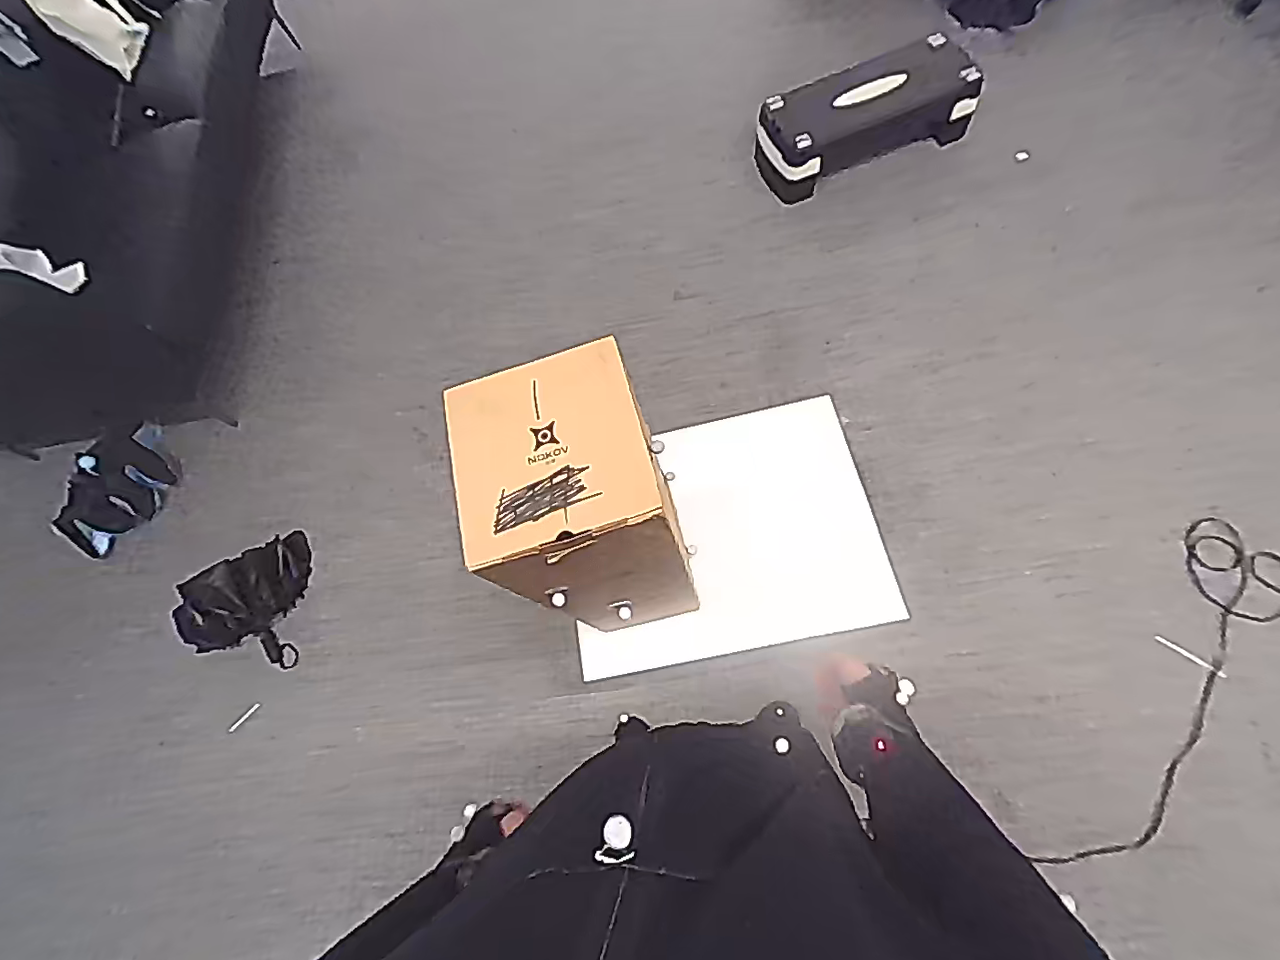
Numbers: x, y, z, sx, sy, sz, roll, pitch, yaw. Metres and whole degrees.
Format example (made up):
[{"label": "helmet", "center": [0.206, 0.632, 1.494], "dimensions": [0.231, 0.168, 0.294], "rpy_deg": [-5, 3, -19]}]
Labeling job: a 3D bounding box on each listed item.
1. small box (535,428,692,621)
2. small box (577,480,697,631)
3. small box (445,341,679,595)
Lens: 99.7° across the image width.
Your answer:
[{"label": "small box", "center": [-0.038, 0.064, 0.678], "dimensions": [0.168, 0.176, 0.179], "rpy_deg": [-16, 67, 4]}, {"label": "small box", "center": [-0.010, 0.123, 0.830], "dimensions": [0.168, 0.176, 0.179], "rpy_deg": [-13, 69, 4]}, {"label": "small box", "center": [-0.067, 0.004, 0.527], "dimensions": [0.168, 0.176, 0.179], "rpy_deg": [-17, 65, 4]}]
